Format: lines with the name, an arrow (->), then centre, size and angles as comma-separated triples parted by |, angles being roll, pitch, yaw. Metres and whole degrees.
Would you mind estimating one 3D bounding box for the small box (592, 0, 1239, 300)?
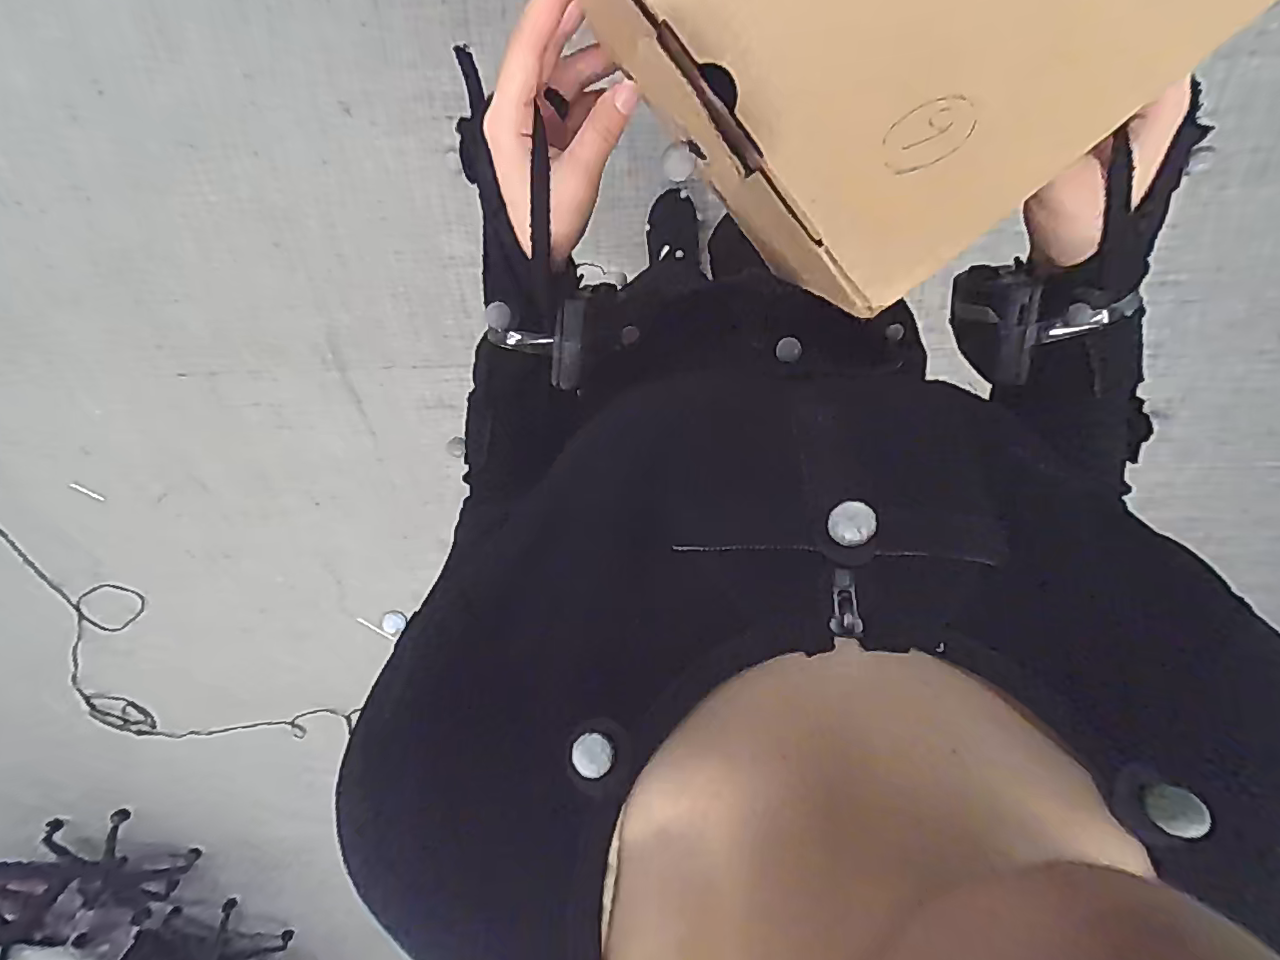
small box -> 0.088, -0.200, 0.210 | 0.179, 0.176, 0.168 | -39, 107, 20
